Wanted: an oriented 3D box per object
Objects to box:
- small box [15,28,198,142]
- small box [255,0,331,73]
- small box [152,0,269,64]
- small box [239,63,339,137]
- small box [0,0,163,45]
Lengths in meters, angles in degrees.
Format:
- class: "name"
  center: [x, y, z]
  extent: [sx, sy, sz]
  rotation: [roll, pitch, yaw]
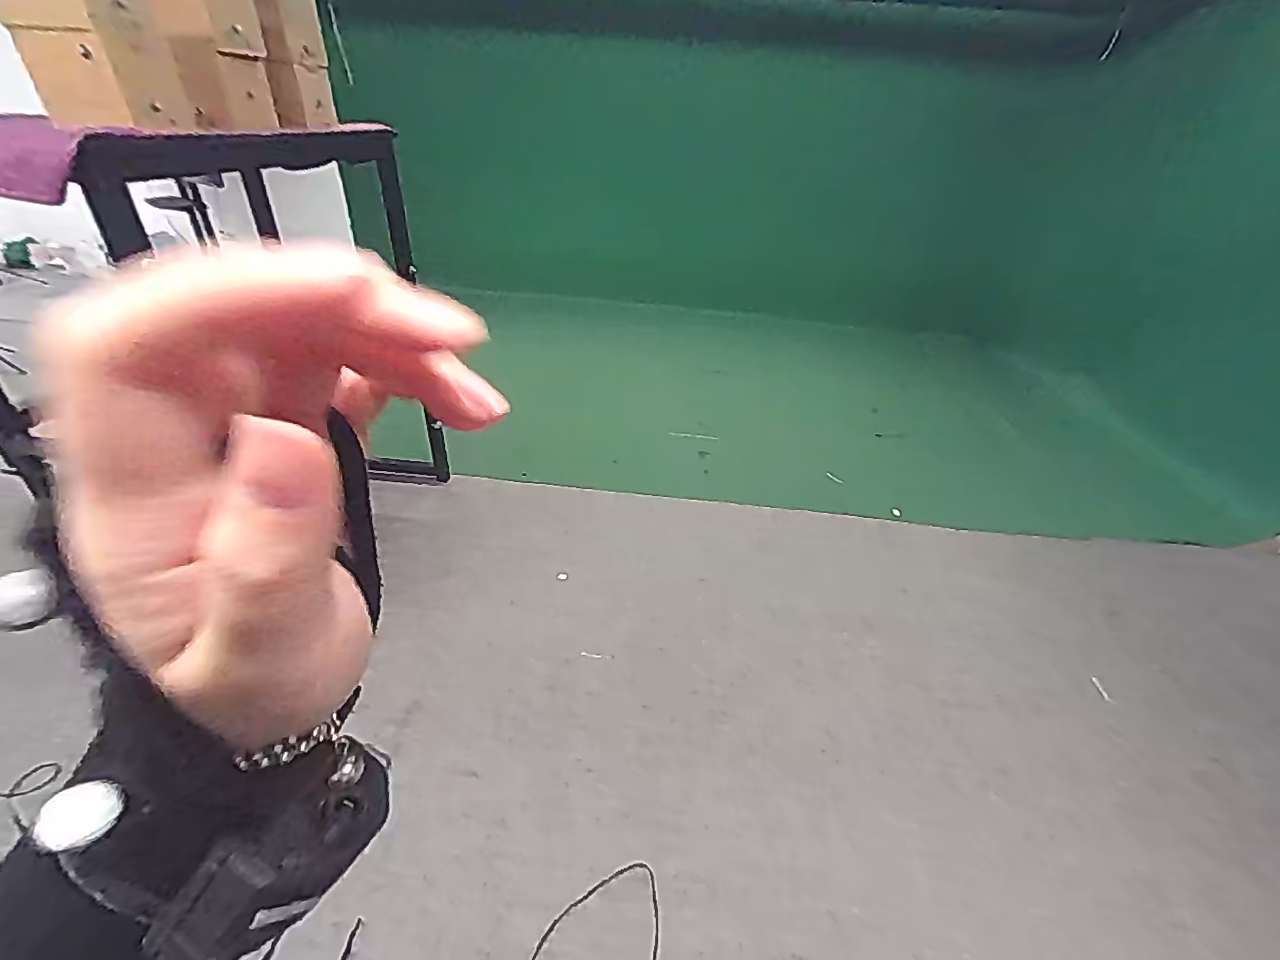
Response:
- class: "small box"
  center: [-1.071, -0.798, 1.106]
  extent: [0.179, 0.176, 0.168]
  rotation: [3, 32, -1]
- class: "small box"
  center: [-1.026, -1.275, 1.541]
  extent: [0.179, 0.176, 0.168]
  rotation: [9, 35, 4]
- class: "small box"
  center: [-1.043, -1.117, 1.294]
  extent: [0.179, 0.176, 0.168]
  rotation: [8, 34, 4]
- class: "small box"
  center: [-1.040, -1.134, 1.622]
  extent: [0.179, 0.176, 0.168]
  rotation: [7, 33, 2]
- class: "small box"
  center: [-1.073, -0.938, 1.019]
  extent: [0.179, 0.176, 0.168]
  rotation: [3, 33, -1]
